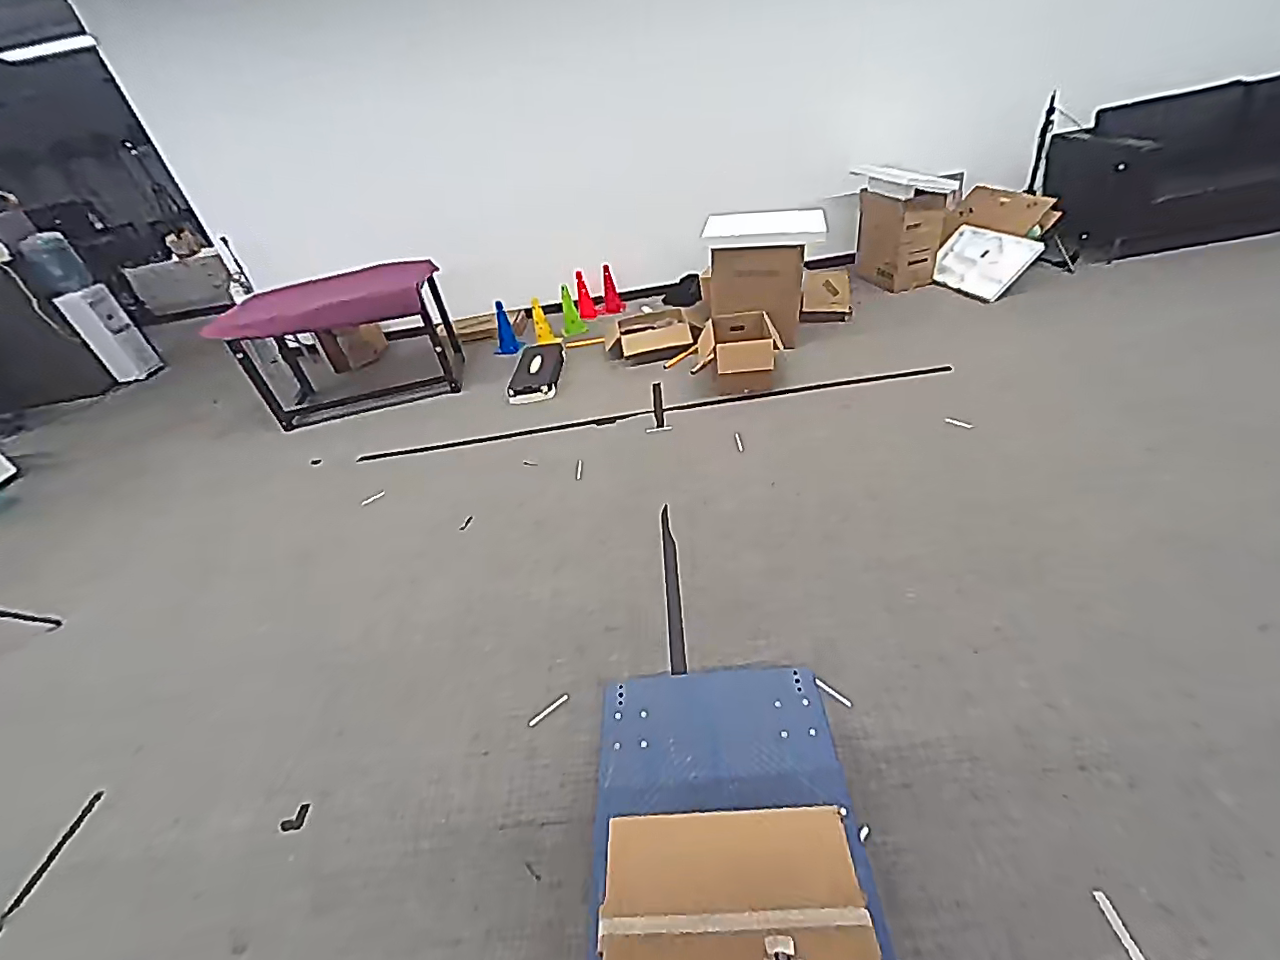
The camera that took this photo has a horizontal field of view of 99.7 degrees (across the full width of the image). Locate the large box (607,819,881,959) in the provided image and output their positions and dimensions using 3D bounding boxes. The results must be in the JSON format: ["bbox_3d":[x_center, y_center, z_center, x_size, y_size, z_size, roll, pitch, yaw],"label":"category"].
[{"bbox_3d":[0.165,0.805,0.892,0.408,0.320,0.320,-6,37,5],"label":"large box"}]
